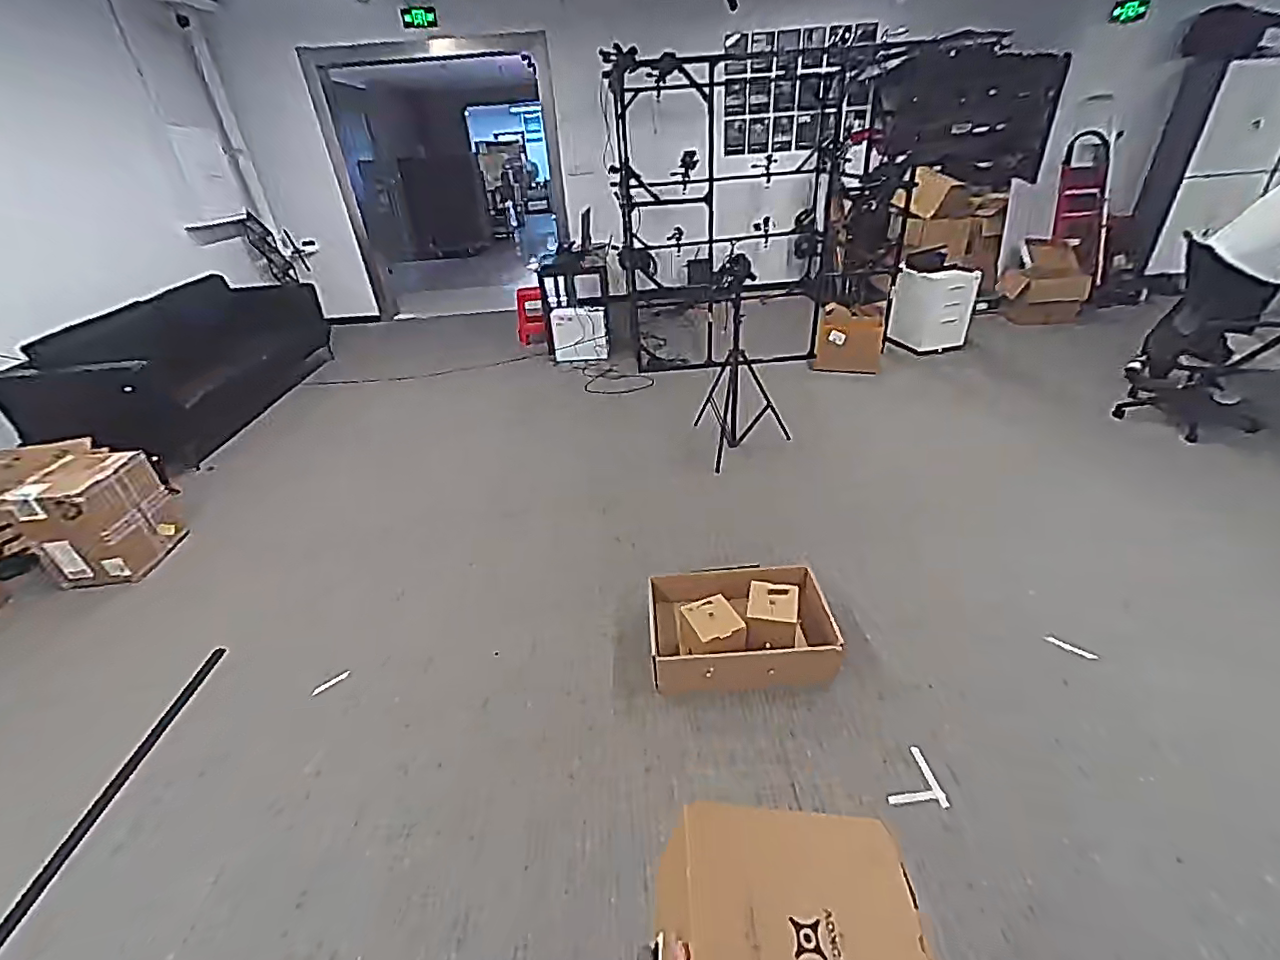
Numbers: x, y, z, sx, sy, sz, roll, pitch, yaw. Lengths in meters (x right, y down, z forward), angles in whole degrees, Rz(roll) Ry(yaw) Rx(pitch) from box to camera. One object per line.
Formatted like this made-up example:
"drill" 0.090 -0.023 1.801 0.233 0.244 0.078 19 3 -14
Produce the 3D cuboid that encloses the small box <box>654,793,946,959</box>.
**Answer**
"small box" 0.111 0.371 0.415 0.179 0.176 0.168 7 34 -5
